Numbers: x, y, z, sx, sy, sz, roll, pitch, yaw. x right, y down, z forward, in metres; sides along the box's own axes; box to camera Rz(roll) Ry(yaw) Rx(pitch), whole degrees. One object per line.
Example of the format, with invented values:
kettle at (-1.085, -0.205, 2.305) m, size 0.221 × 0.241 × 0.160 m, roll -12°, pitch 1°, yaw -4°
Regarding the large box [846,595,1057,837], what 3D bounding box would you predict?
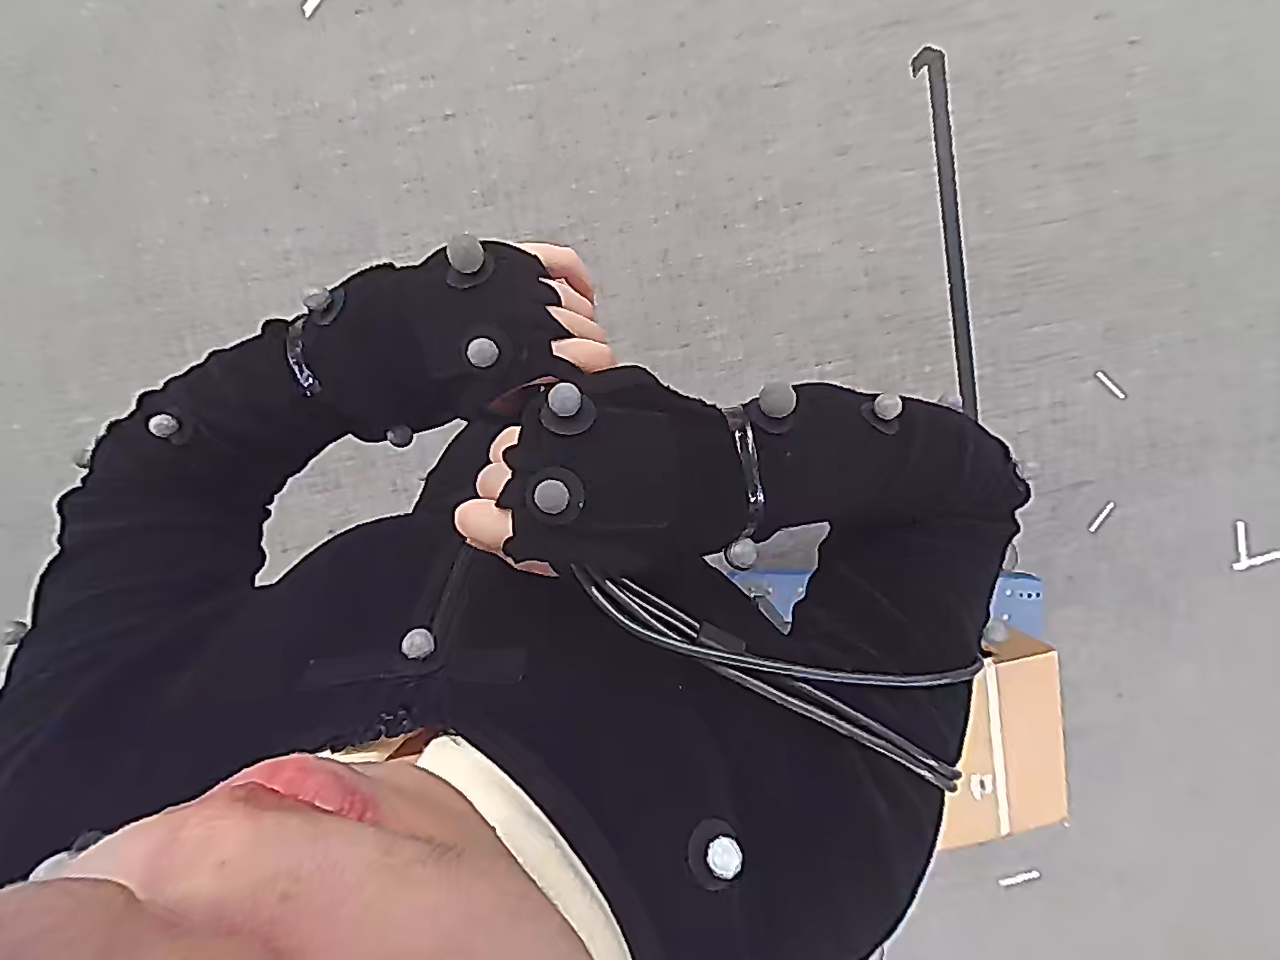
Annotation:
large box at (0.731, 0.541, 1.308) m, size 0.320 × 0.320 × 0.408 m, roll -10°, pitch 99°, yaw -4°
